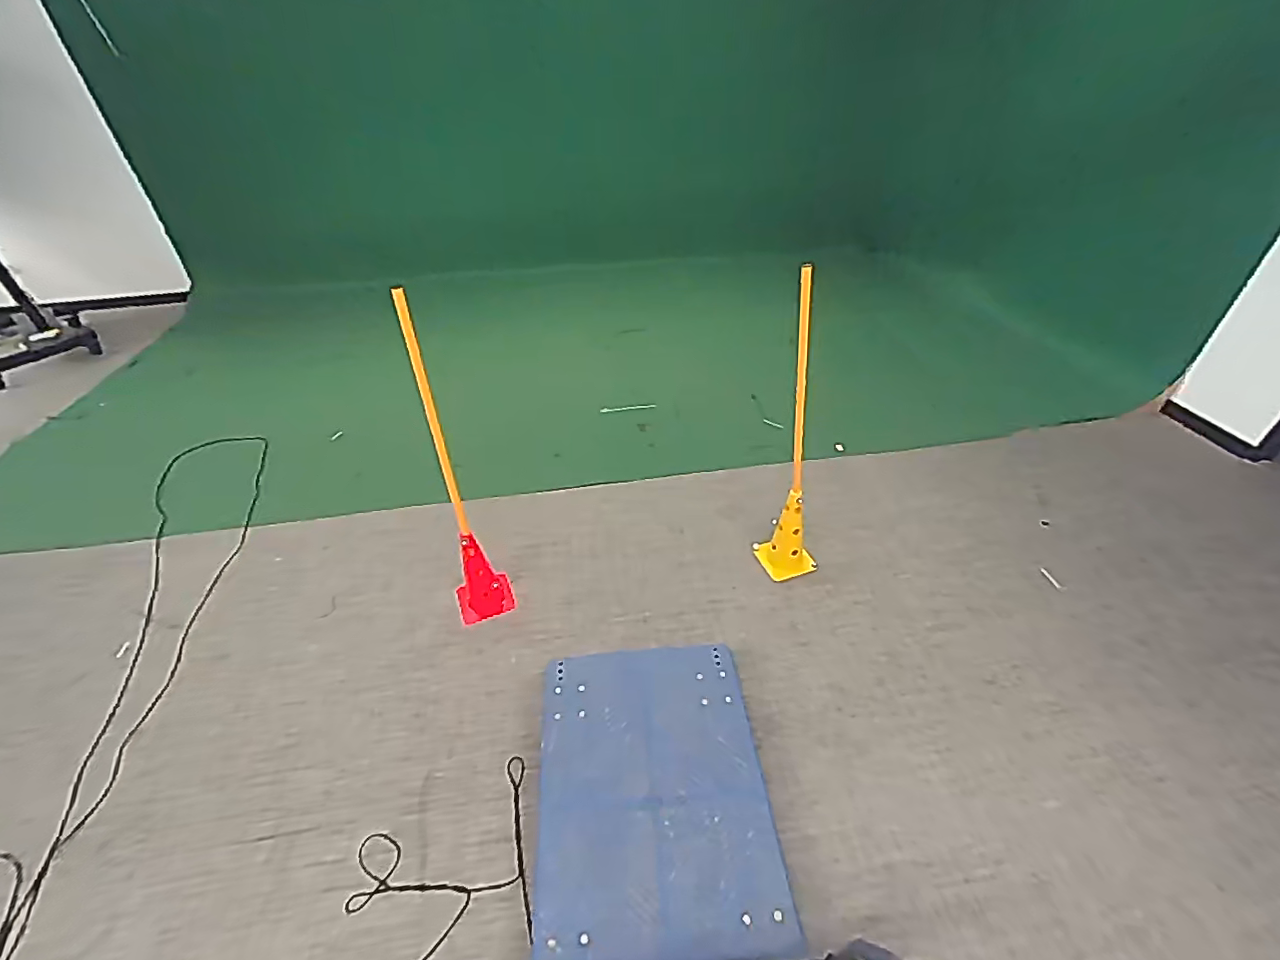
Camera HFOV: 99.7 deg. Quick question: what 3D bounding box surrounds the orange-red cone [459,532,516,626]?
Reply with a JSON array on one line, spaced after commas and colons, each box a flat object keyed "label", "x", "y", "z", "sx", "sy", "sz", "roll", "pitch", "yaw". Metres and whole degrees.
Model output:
[{"label": "orange-red cone", "x": -0.593, "y": 0.329, "z": 1.963, "sx": 0.199, "sy": 0.360, "sz": 0.198, "roll": -18, "pitch": 41, "yaw": -16}]
